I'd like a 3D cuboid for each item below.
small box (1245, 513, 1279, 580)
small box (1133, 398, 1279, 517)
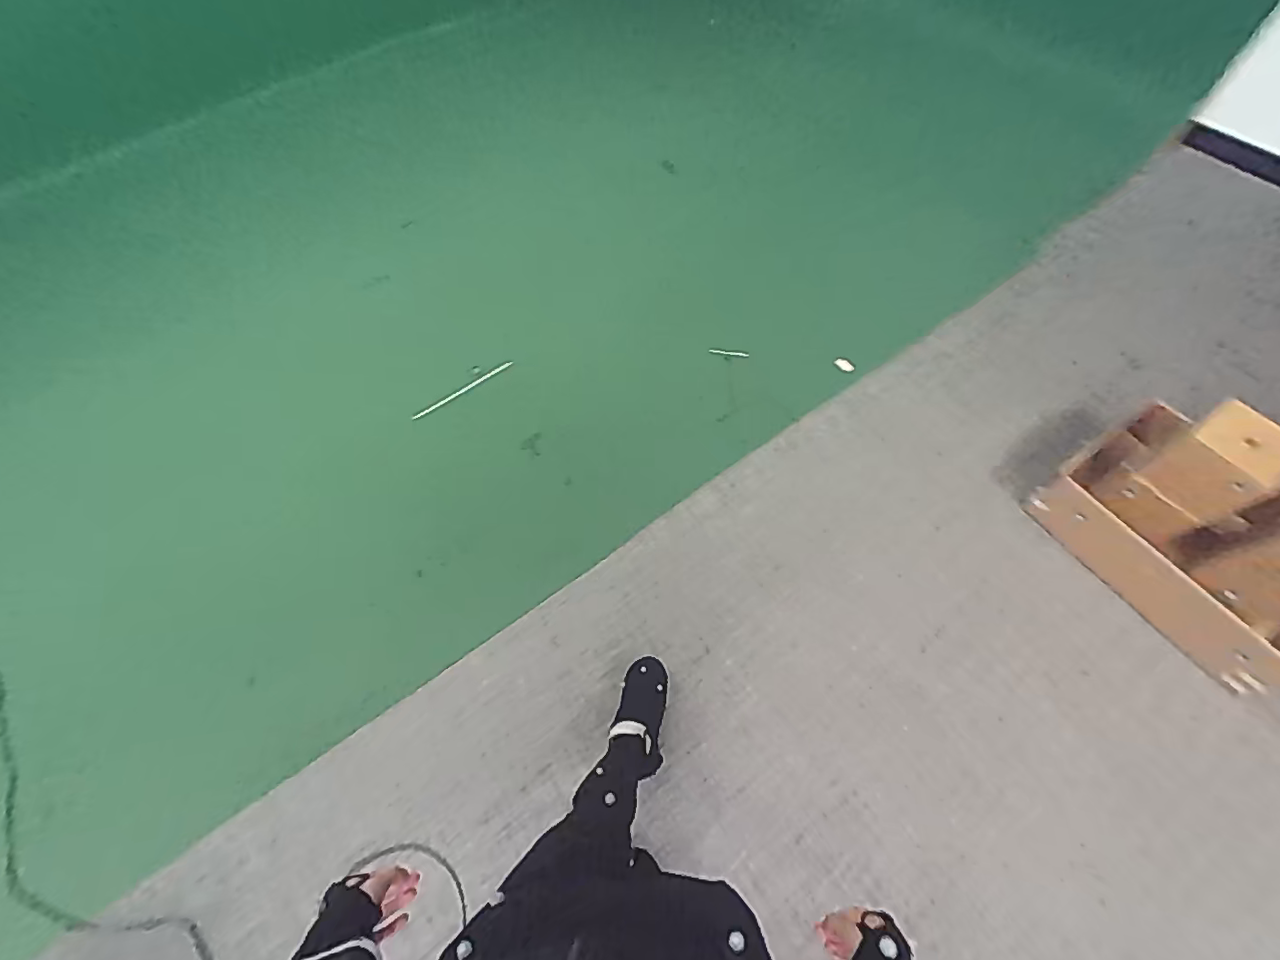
[{"bbox_3d":[1.441,0.135,1.119,0.179,0.176,0.168,-32,64,-11],"label":"small box"},{"bbox_3d":[1.295,-0.046,1.224,0.168,0.176,0.179,-35,67,-12],"label":"small box"}]
